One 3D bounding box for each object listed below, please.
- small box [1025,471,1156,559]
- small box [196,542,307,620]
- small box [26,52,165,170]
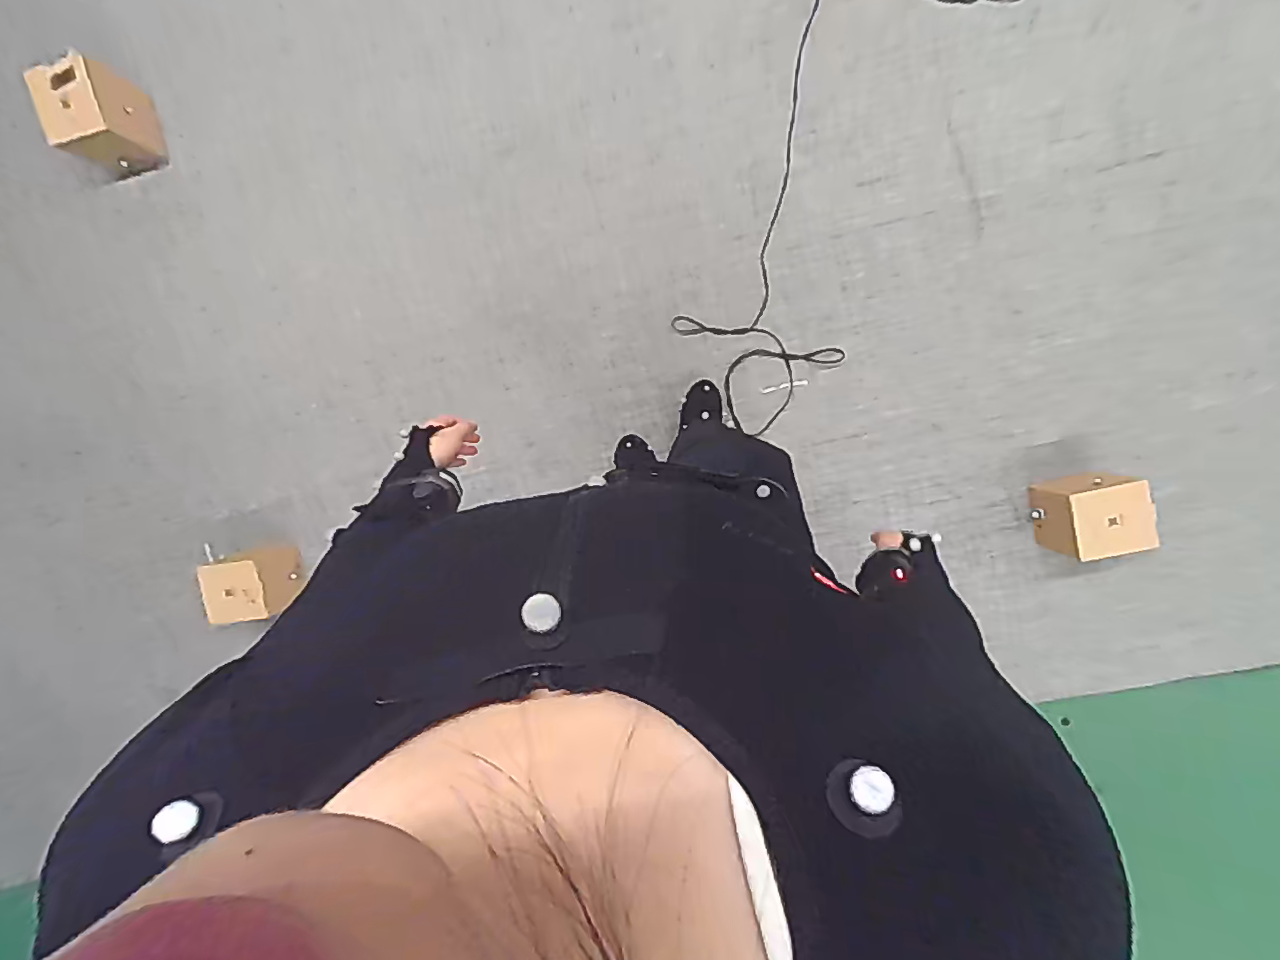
[{"bbox_3d":[1.097,0.079,1.328,0.179,0.176,0.168,-14,95,8],"label":"small box"},{"bbox_3d":[-1.093,0.282,1.534,0.179,0.176,0.168,-7,97,5],"label":"small box"},{"bbox_3d":[-1.397,-0.945,1.400,0.168,0.176,0.179,-12,97,6],"label":"small box"}]
